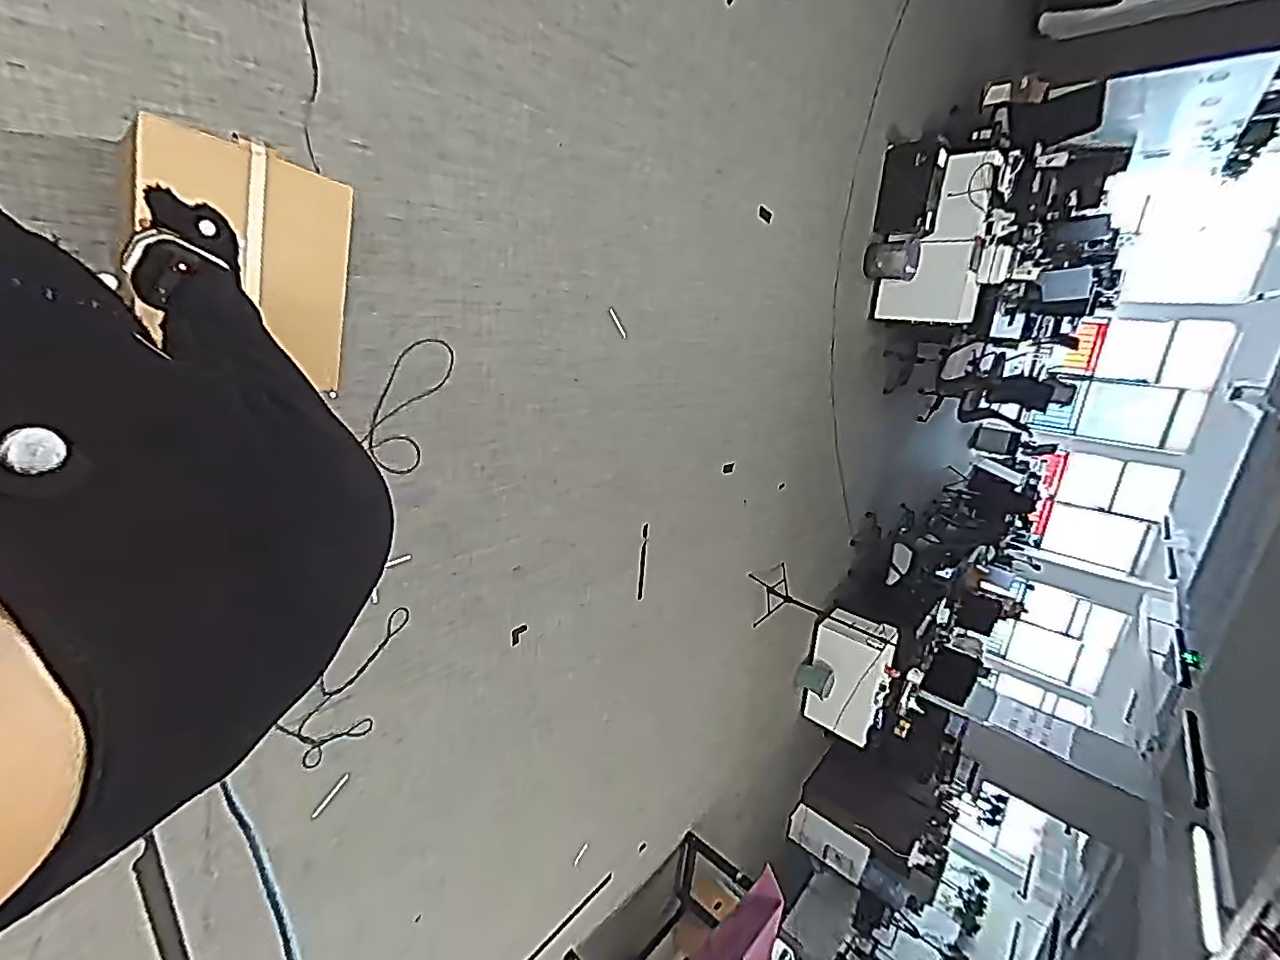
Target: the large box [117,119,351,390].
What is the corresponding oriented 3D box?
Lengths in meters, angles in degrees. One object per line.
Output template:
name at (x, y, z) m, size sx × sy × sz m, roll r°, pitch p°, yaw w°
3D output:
large box at (-0.814, -0.419, 1.082) m, size 0.320 × 0.320 × 0.408 m, roll -1°, pitch 106°, yaw -48°
